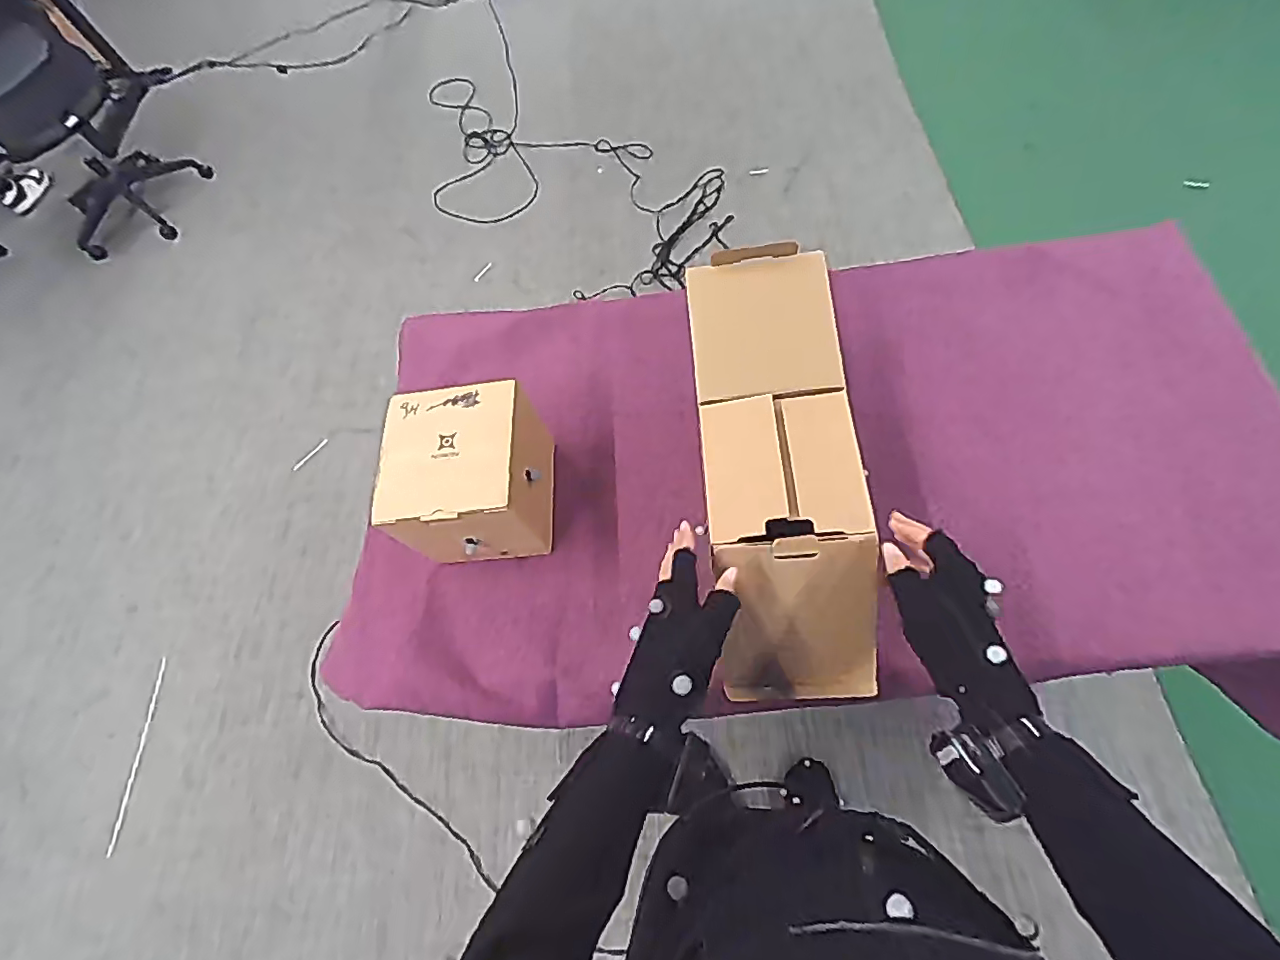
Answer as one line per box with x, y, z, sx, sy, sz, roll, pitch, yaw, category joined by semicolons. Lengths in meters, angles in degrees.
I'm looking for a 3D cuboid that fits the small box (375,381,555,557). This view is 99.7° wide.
-0.213;-0.003;0.711;0.168;0.176;0.179;-6;65;6;small box
